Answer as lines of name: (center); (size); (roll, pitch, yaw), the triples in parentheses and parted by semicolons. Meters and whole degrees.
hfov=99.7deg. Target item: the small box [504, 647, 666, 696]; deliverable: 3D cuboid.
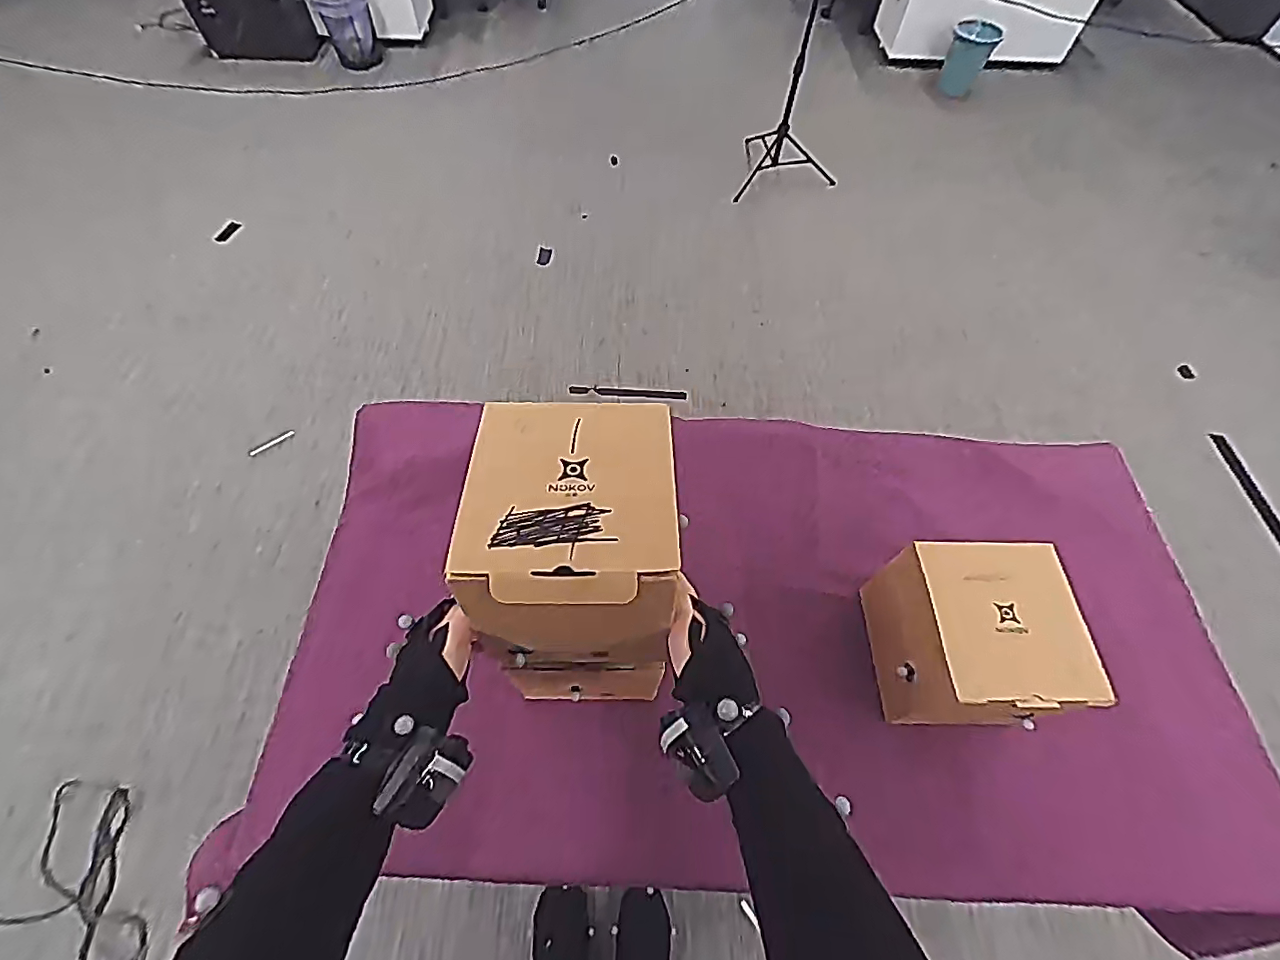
small box: (-0.058, 0.153, 0.650); (0.168, 0.176, 0.179); (1, 61, -2)

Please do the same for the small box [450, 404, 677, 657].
small box: (-0.054, 0.051, 0.492); (0.168, 0.176, 0.179); (1, 51, -1)

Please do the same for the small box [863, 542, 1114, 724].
small box: (0.390, 0.189, 0.646); (0.168, 0.176, 0.179); (2, 60, -1)
